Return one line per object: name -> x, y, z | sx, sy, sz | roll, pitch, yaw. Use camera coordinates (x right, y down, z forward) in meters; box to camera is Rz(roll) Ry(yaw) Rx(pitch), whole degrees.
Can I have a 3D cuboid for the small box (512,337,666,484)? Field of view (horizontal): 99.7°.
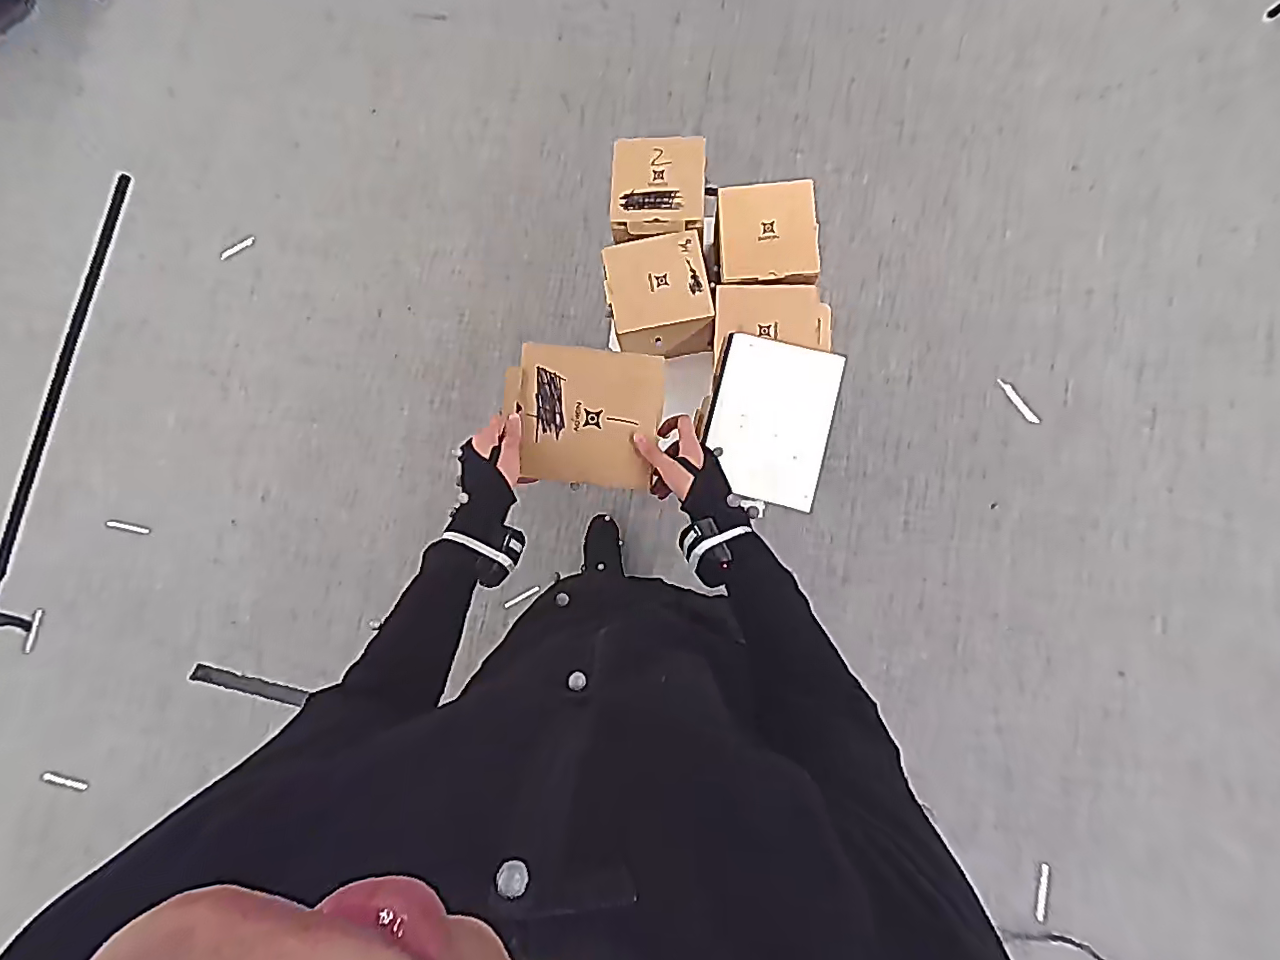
small box -> -0.060, -0.089, 0.741 | 0.179, 0.176, 0.168 | 6, 94, 2
